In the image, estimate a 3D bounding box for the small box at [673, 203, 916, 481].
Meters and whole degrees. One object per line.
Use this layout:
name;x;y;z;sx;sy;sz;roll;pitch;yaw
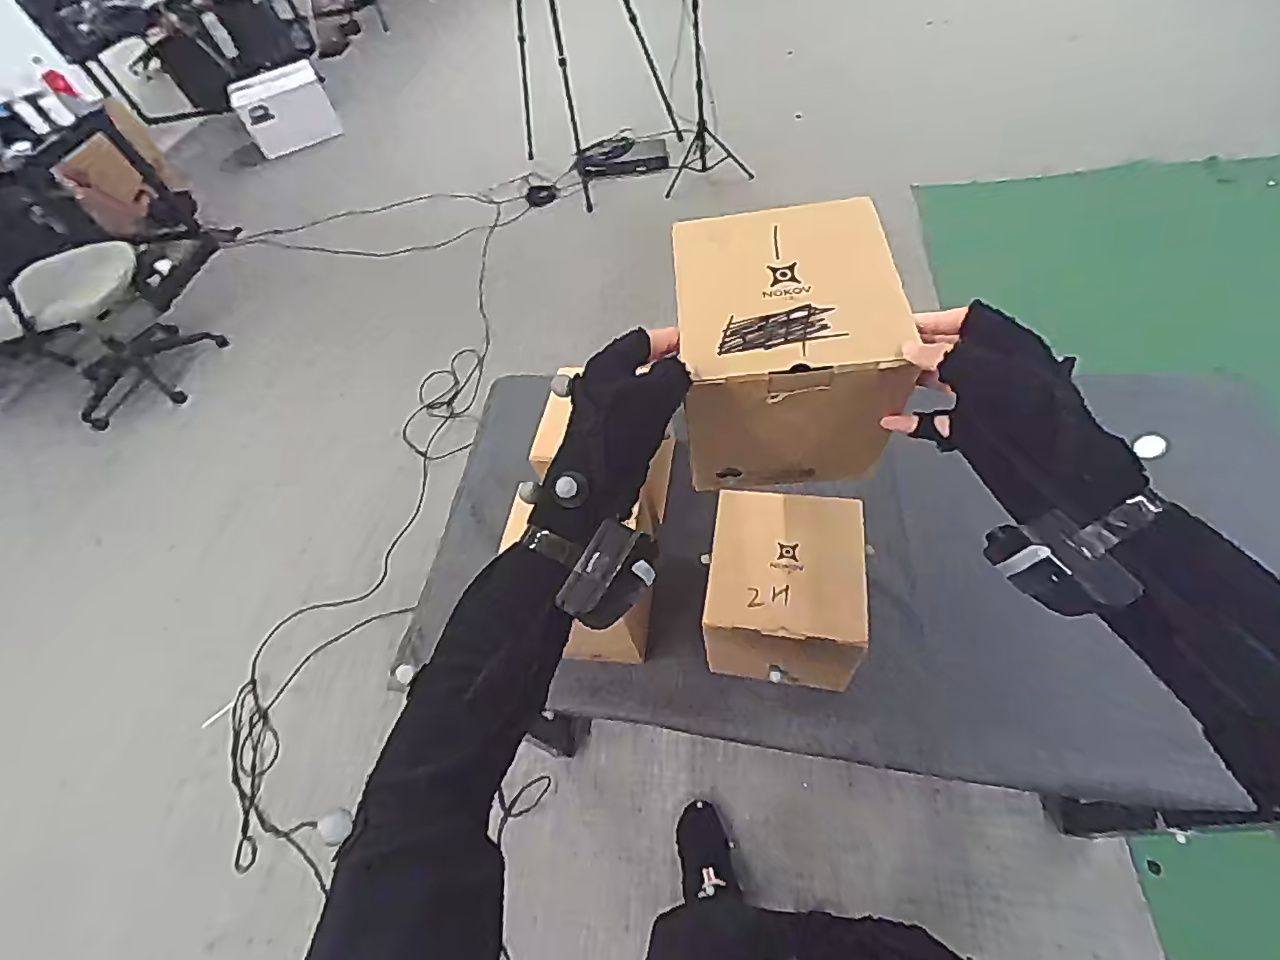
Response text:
small box;0.120;-0.108;0.483;0.168;0.176;0.179;-4;60;7

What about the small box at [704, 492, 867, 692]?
small box;0.172;0.138;0.659;0.168;0.176;0.179;4;56;13

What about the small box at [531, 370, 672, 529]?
small box;-0.046;-0.046;0.830;0.168;0.176;0.179;3;57;12
